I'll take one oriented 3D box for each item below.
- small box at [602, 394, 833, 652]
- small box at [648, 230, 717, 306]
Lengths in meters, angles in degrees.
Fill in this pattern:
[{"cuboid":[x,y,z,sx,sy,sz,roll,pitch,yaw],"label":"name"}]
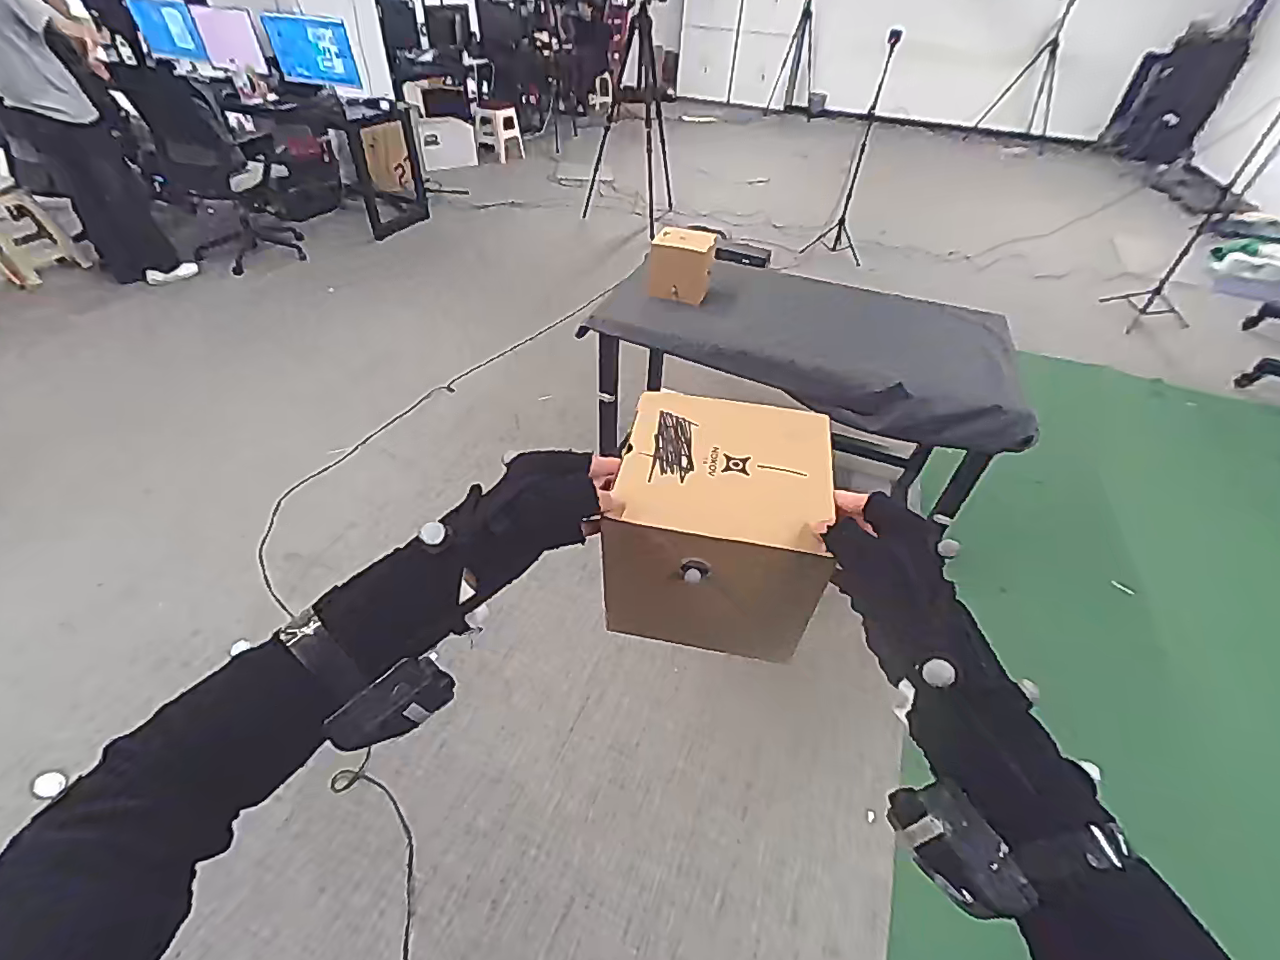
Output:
[{"cuboid":[0.069,0.042,0.512,0.179,0.176,0.168,9,46,7],"label":"small box"},{"cuboid":[0.134,-0.676,1.732,0.179,0.176,0.168,15,44,11],"label":"small box"}]
